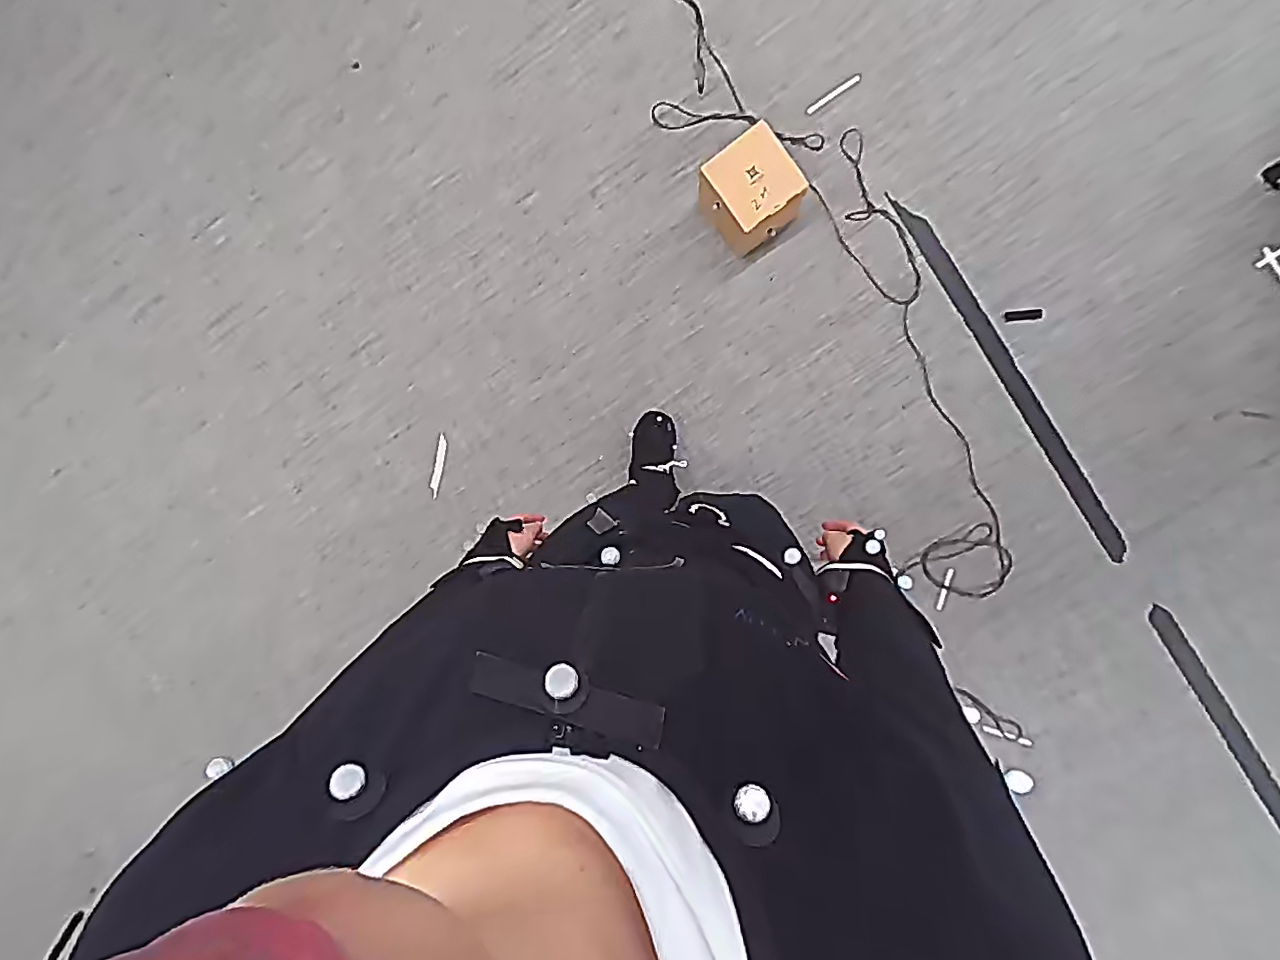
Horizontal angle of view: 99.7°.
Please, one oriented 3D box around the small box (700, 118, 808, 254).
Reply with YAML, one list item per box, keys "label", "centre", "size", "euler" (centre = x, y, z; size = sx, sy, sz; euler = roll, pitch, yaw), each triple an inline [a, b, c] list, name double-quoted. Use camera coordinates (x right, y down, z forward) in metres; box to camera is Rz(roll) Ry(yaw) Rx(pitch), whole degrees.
- label: "small box"
  centre: [0.246, -0.650, 1.221]
  size: [0.168, 0.176, 0.179]
  euler: [-35, 90, 6]
